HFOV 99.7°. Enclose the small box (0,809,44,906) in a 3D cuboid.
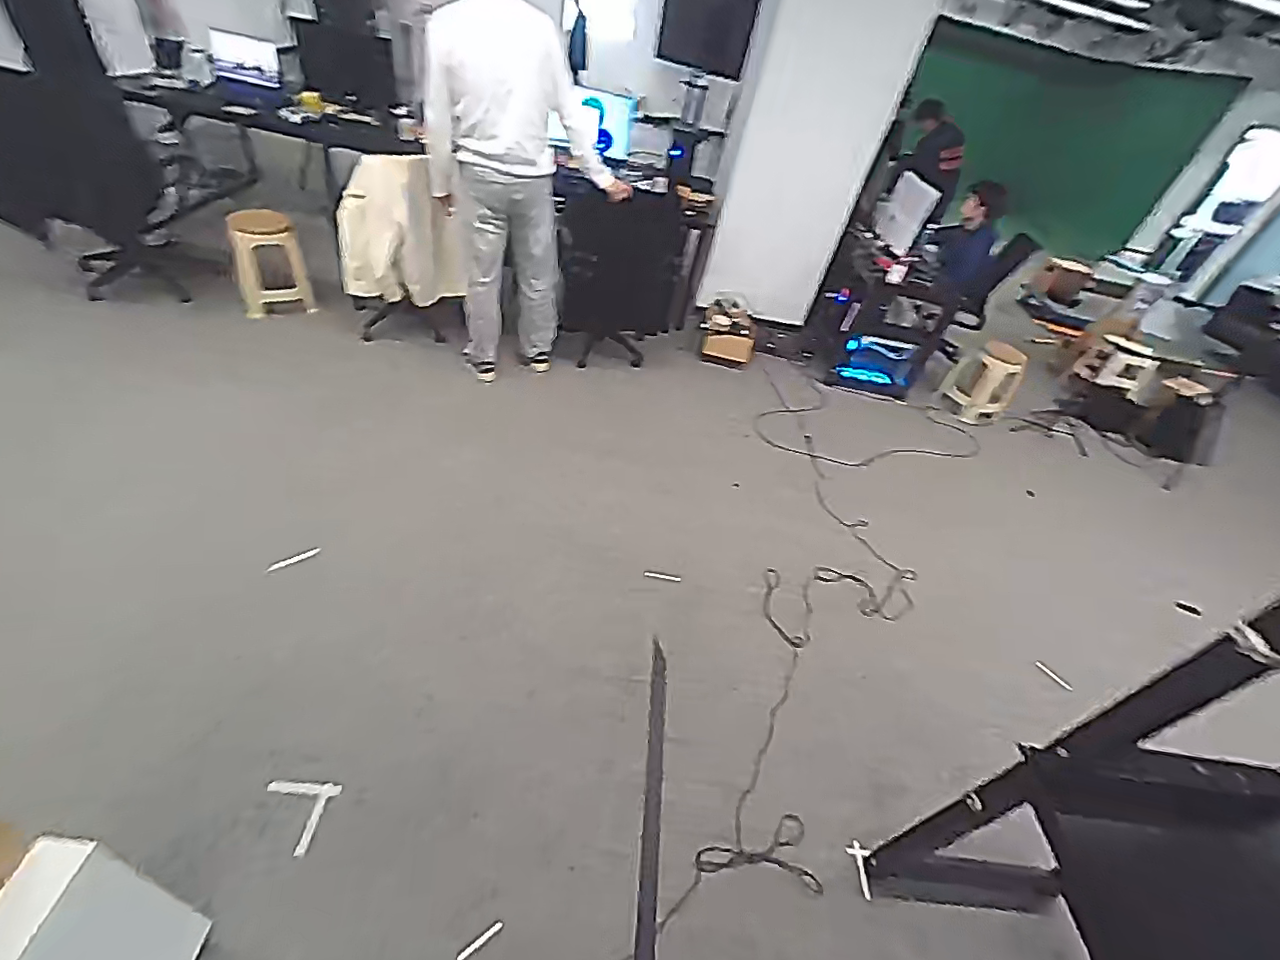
[{"bbox_3d":[-0.936,0.504,0.670,0.179,0.176,0.168,8,43,-6],"label":"small box"}]
